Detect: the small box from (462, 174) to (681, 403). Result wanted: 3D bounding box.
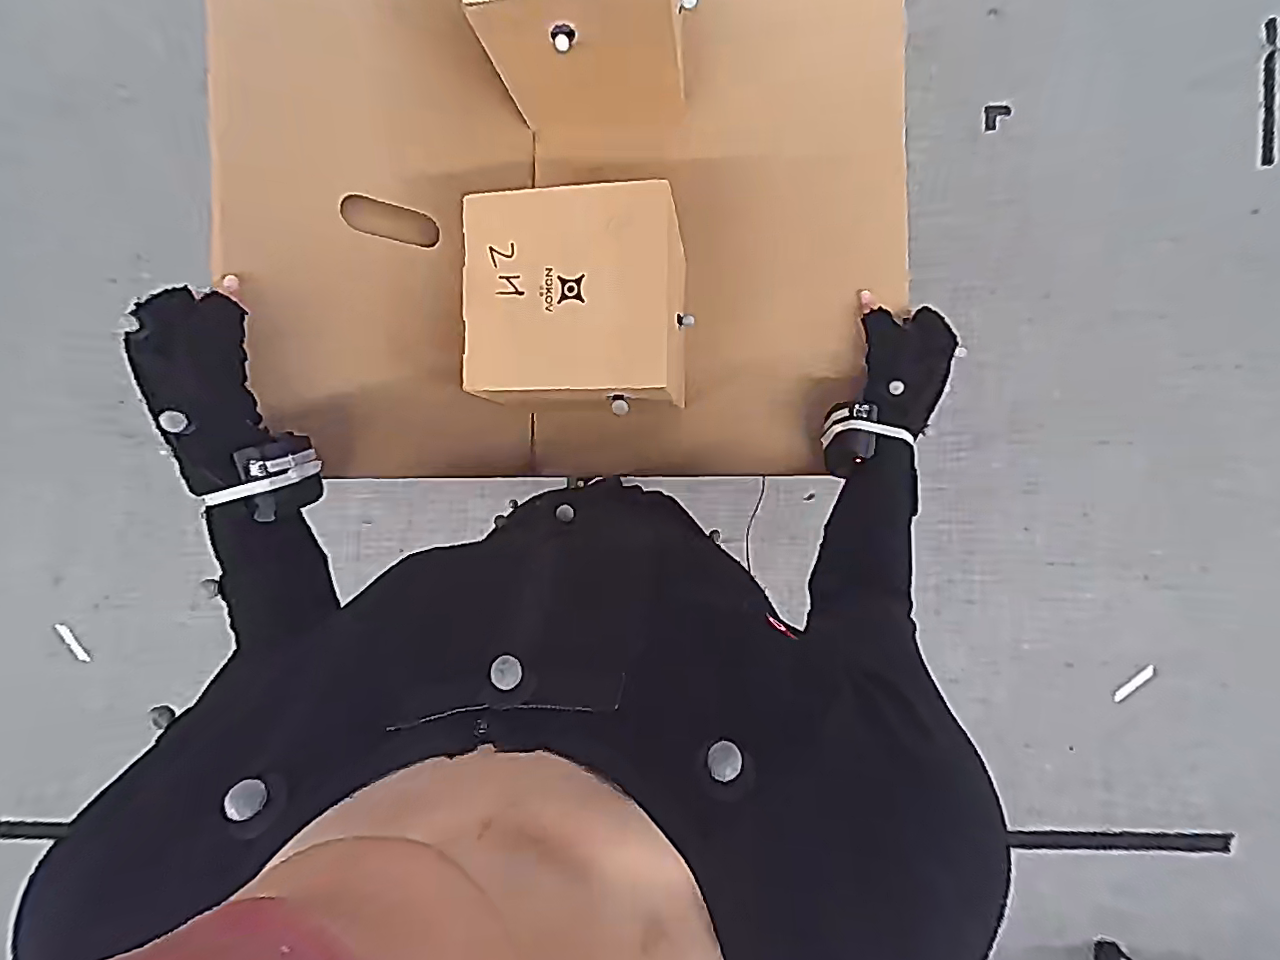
[{"bbox_3d":[-0.053,-0.169,0.528,0.179,0.176,0.168,1,91,10],"label":"small box"}]

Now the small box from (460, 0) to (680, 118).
[{"bbox_3d":[-0.057,-0.488,0.526,0.179,0.176,0.168,-1,90,9],"label":"small box"}]
